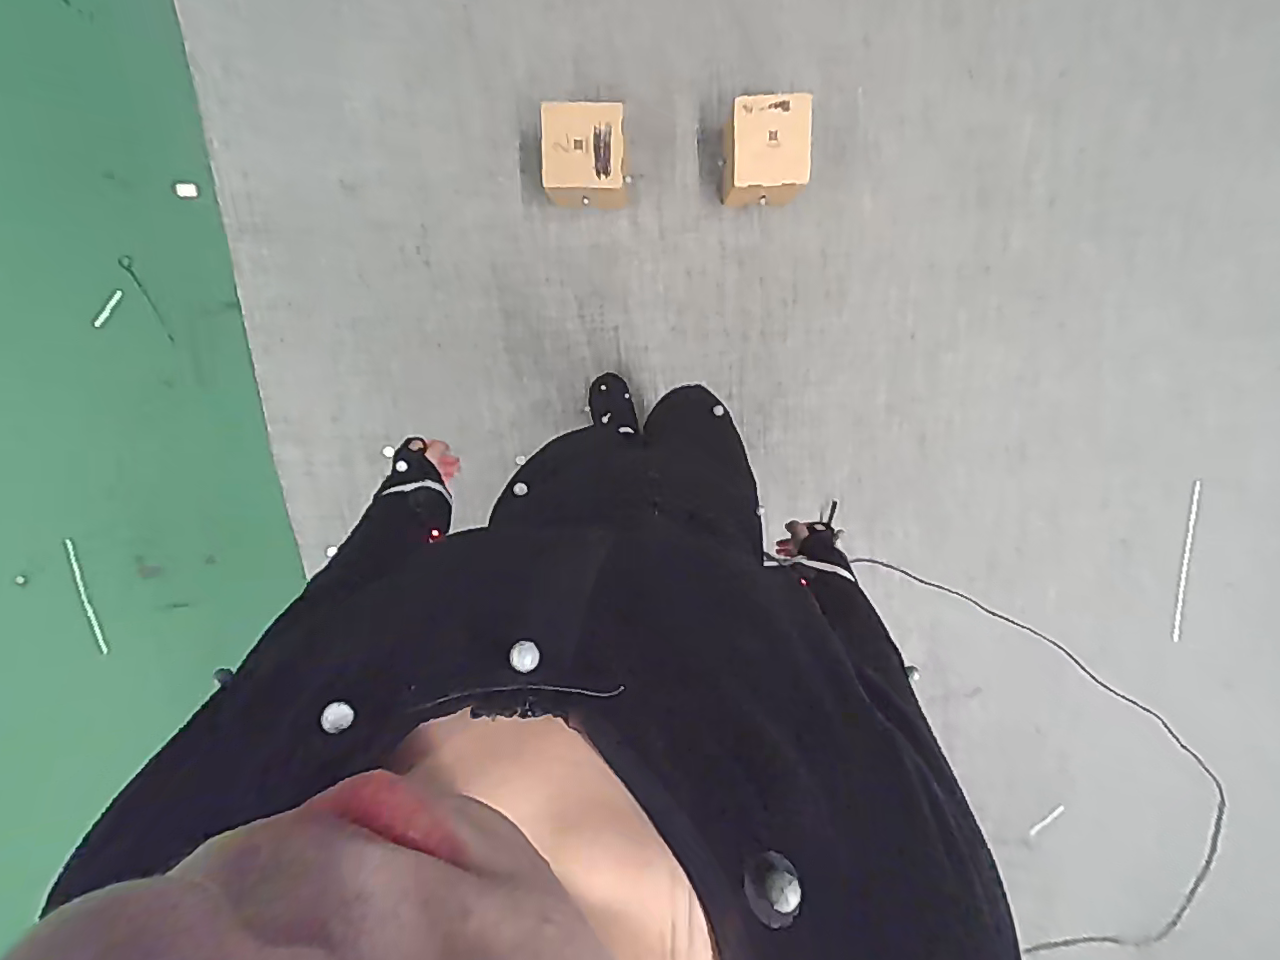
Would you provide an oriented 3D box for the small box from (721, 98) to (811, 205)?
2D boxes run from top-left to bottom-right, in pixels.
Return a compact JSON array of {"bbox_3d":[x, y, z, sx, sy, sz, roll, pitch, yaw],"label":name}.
[{"bbox_3d":[0.280,-0.737,1.233,0.168,0.176,0.179,-1,104,0],"label":"small box"}]

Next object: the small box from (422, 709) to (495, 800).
[{"bbox_3d":[-0.533,0.804,1.600,0.168,0.176,0.179,5,104,0],"label":"small box"}]
